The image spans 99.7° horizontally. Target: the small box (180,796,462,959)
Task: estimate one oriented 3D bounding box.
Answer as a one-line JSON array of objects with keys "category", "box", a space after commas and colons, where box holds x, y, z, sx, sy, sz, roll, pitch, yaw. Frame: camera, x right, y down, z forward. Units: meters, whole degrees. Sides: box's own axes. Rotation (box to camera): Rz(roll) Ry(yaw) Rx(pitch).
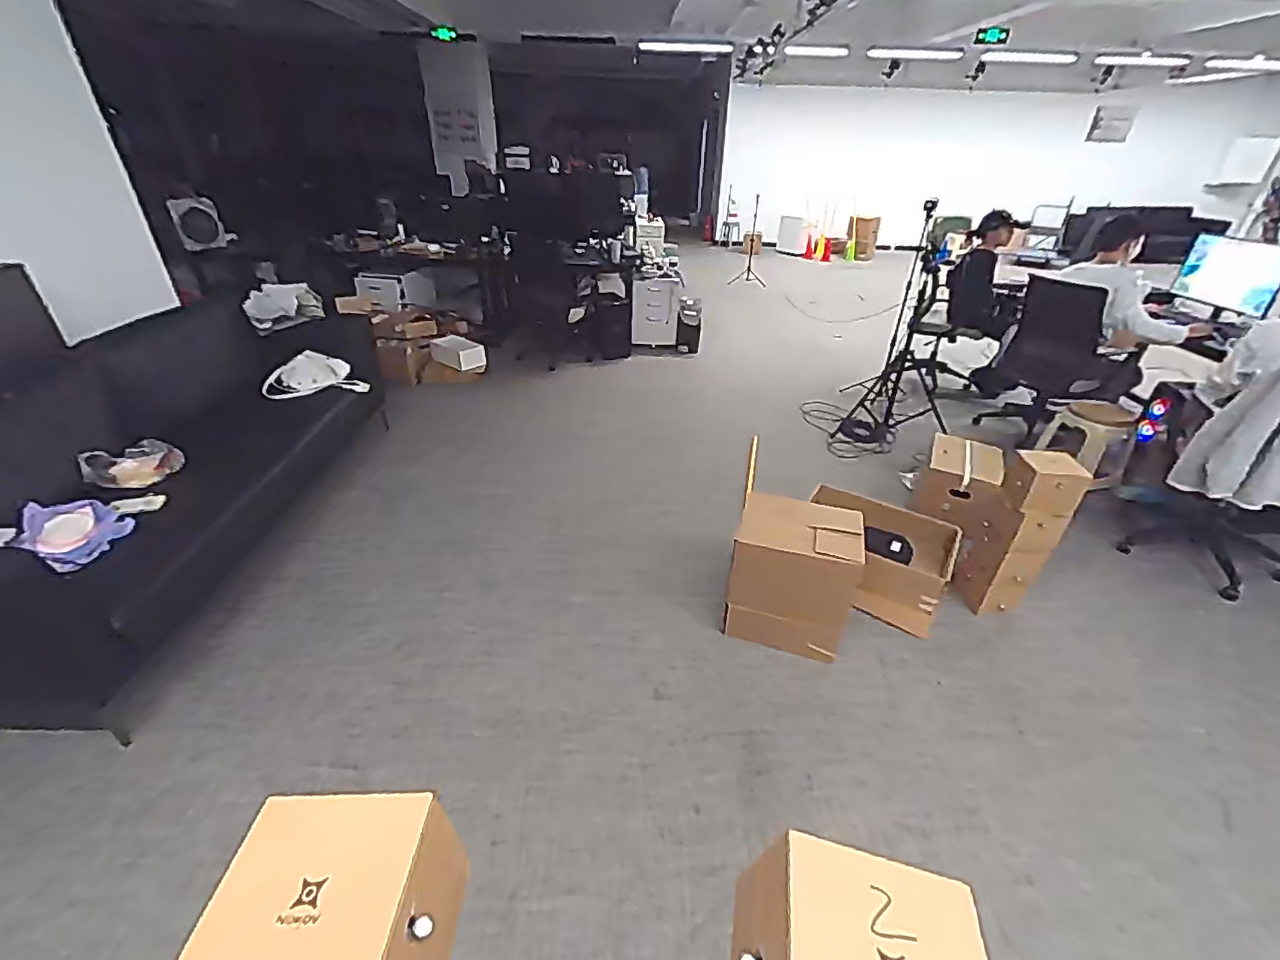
[{"category": "small box", "box": [-0.276, 0.423, 0.497, 0.168, 0.176, 0.179, -1, 33, 1]}]
